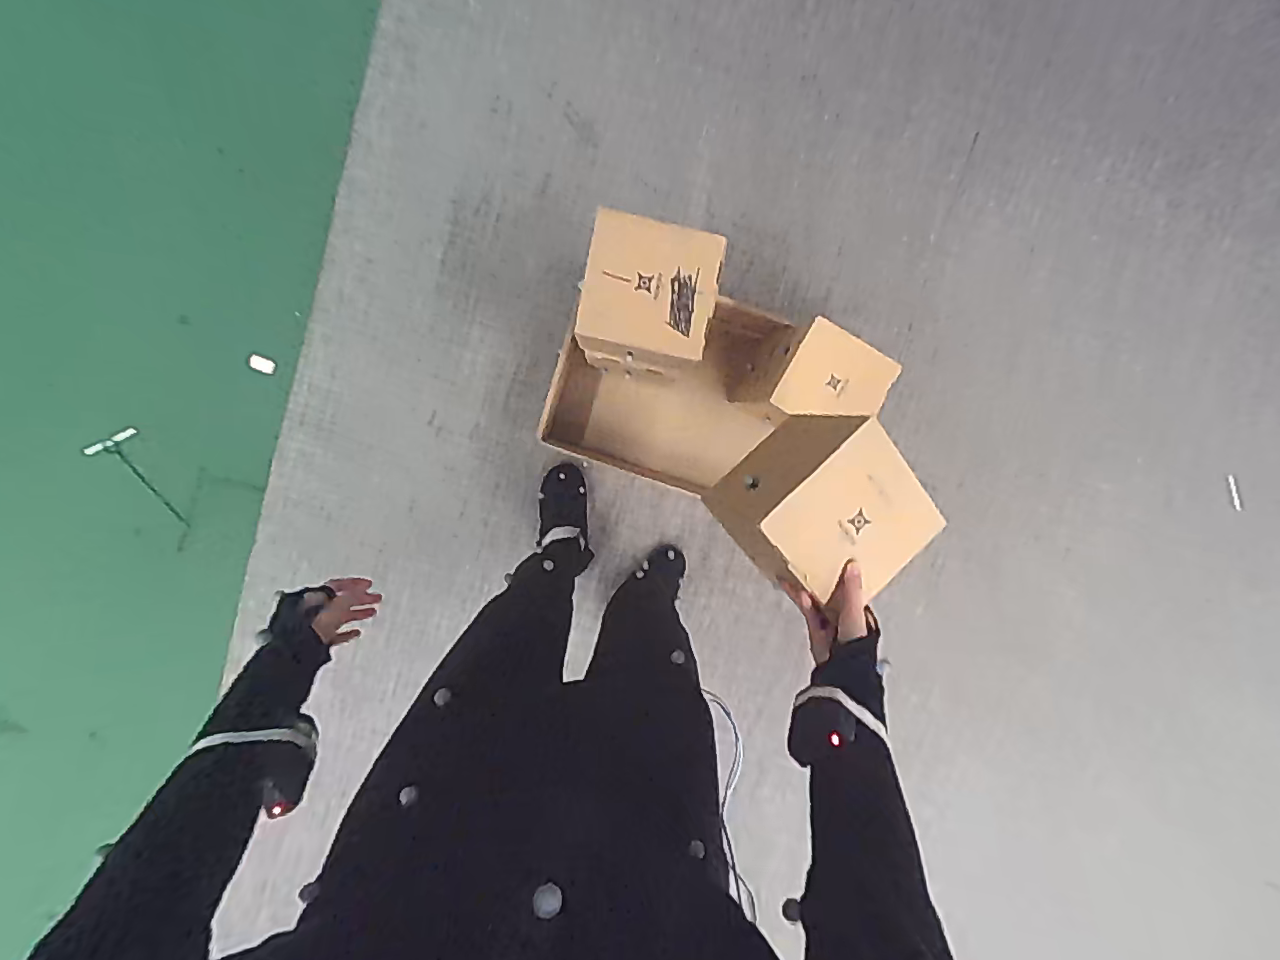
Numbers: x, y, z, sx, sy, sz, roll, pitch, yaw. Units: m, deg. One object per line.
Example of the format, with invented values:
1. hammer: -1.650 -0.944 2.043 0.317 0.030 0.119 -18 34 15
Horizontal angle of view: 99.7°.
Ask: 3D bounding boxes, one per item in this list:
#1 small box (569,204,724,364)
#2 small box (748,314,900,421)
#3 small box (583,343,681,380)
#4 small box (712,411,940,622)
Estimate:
1. small box: 0.006 -0.269 0.786 0.179 0.176 0.168 12 96 -3
2. small box: 0.320 -0.174 0.984 0.179 0.176 0.168 29 96 -6
3. small box: 0.003 -0.285 0.950 0.168 0.176 0.179 15 97 -4
4. small box: 0.208 0.032 0.660 0.179 0.176 0.168 -41 105 -5
